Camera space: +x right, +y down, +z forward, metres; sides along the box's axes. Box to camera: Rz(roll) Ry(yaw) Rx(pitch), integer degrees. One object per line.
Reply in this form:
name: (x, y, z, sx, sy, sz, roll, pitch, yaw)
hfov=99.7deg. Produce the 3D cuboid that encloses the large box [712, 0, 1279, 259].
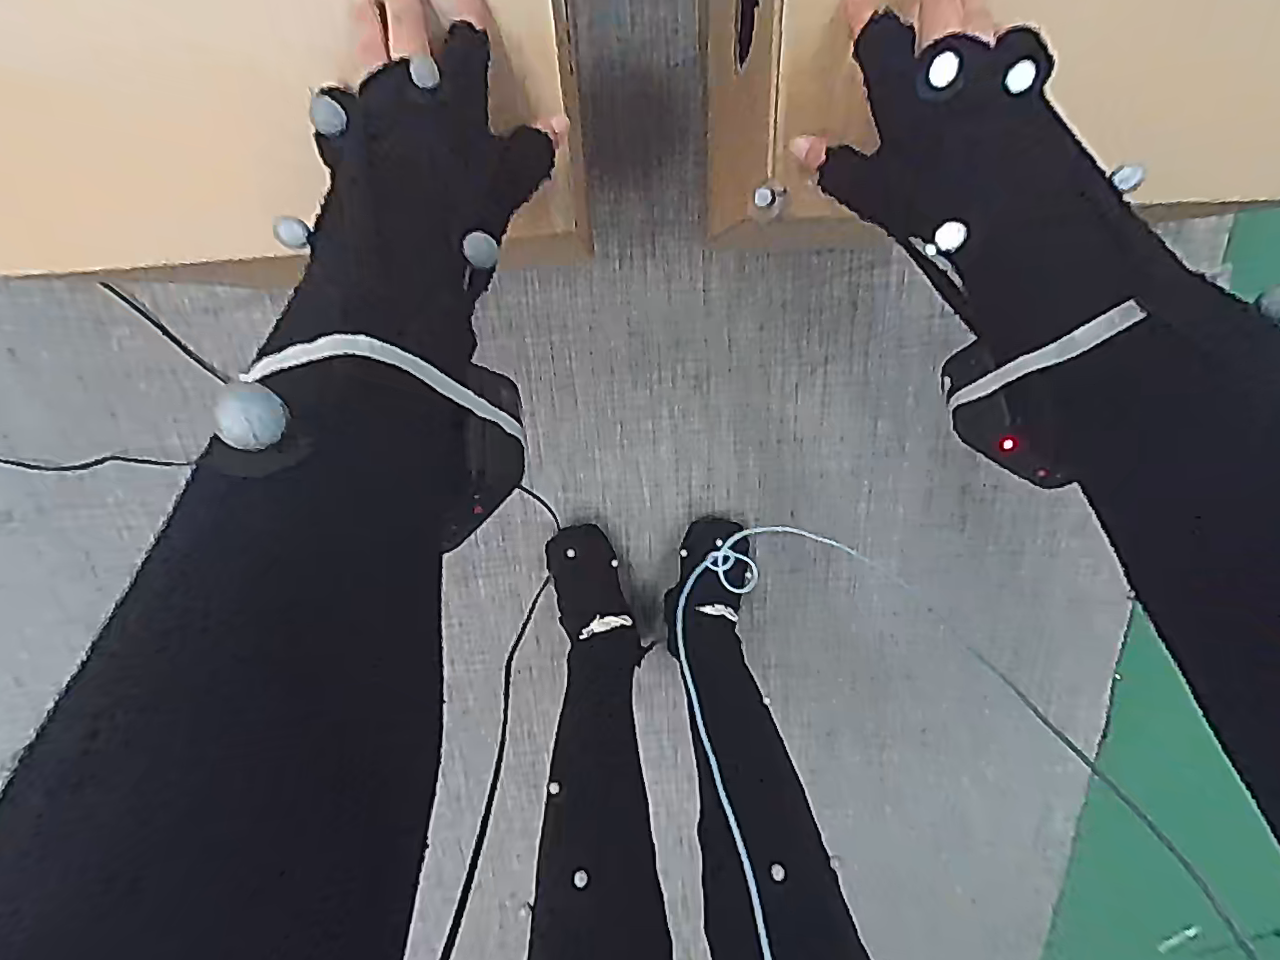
large box: (0.285, -0.372, 0.476, 0.408, 0.320, 0.320, -2, 109, -1)
